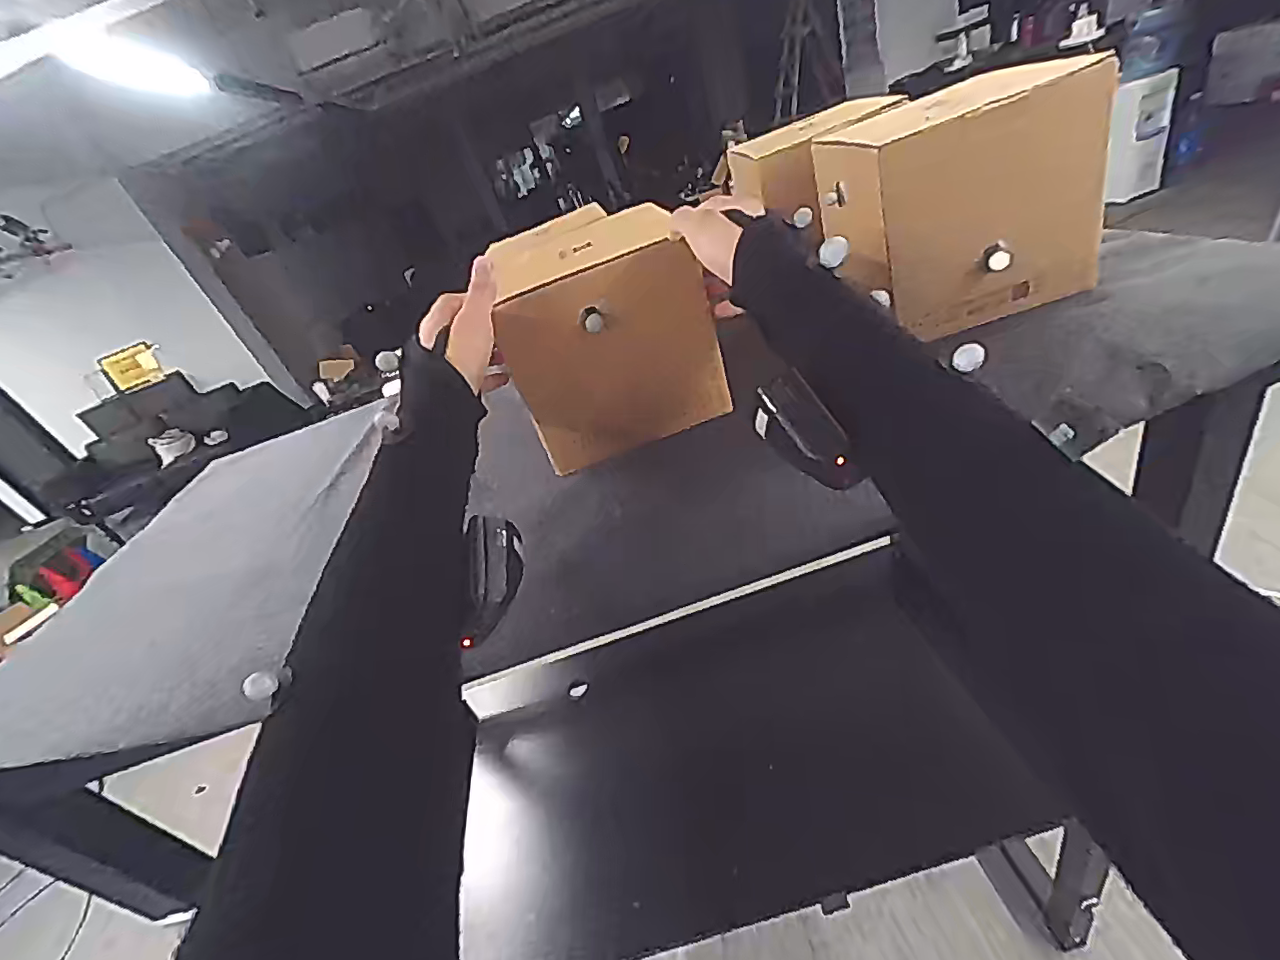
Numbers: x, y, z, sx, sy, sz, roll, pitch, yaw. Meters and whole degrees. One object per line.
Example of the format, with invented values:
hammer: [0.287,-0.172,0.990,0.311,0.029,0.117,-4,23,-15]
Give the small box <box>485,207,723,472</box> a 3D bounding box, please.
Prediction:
small box: [-0.029,-0.137,0.523,0.179,0.176,0.168,-21,35,1]

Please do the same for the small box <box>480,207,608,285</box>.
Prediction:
small box: [-0.098,-0.253,0.743,0.168,0.176,0.179,-21,32,3]

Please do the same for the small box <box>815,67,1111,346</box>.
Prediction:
small box: [0.277,-0.246,0.502,0.168,0.176,0.179,-17,32,9]
